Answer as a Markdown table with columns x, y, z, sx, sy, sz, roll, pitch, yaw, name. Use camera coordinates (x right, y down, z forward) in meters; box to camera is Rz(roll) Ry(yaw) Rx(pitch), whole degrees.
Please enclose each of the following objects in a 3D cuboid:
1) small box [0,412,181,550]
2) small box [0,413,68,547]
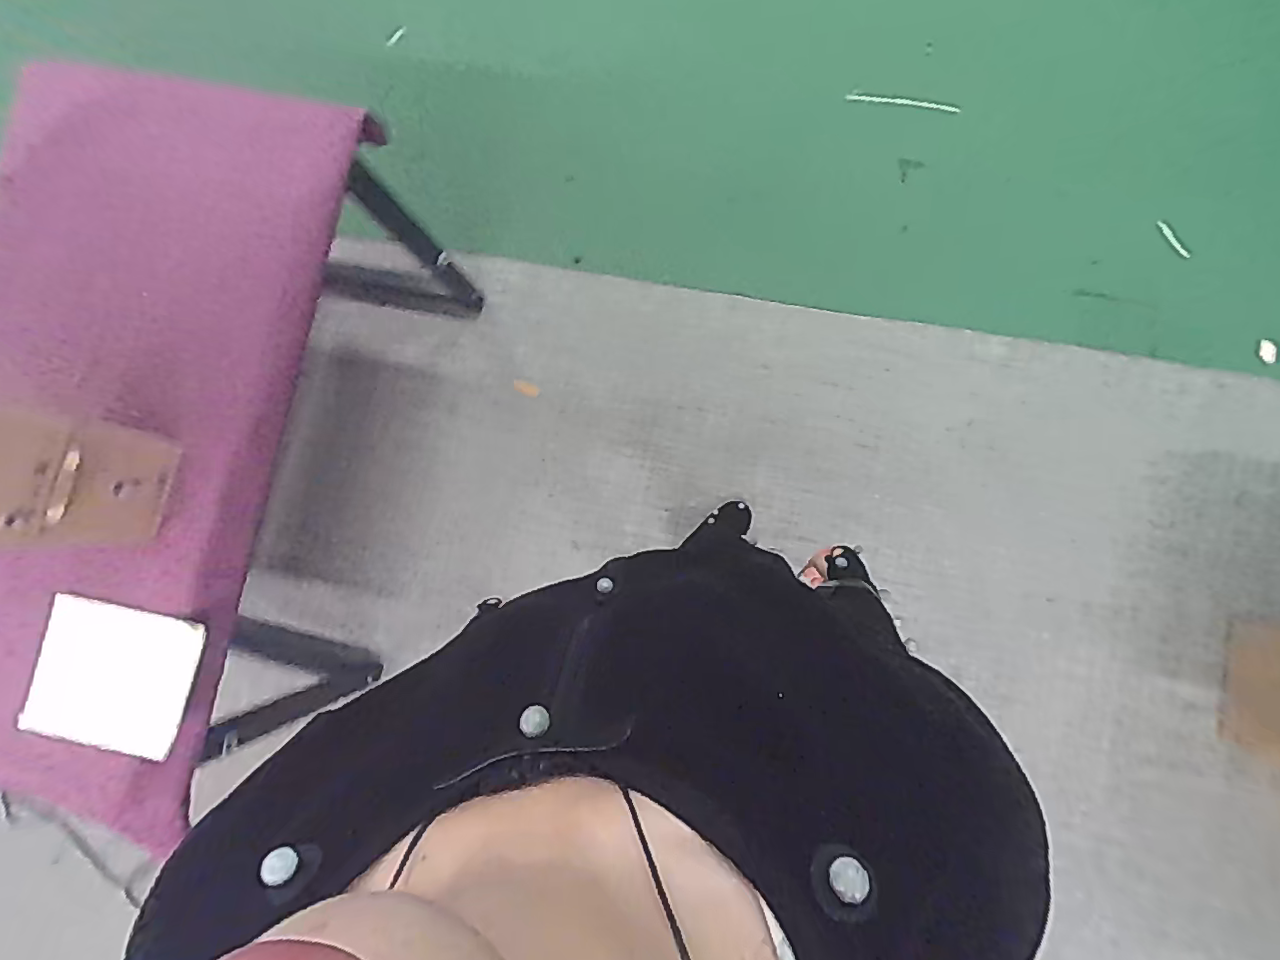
| x | y | z | sx | sy | sz | roll | pitch | yaw | name |
| --- | --- | --- | --- | --- | --- | --- | --- | --- | --- |
| -0.855 | 0.003 | 0.812 | 0.179 | 0.176 | 0.168 | 13 | 85 | 6 | small box |
| -0.865 | -0.014 | 0.648 | 0.179 | 0.176 | 0.168 | 13 | 85 | 8 | small box |
